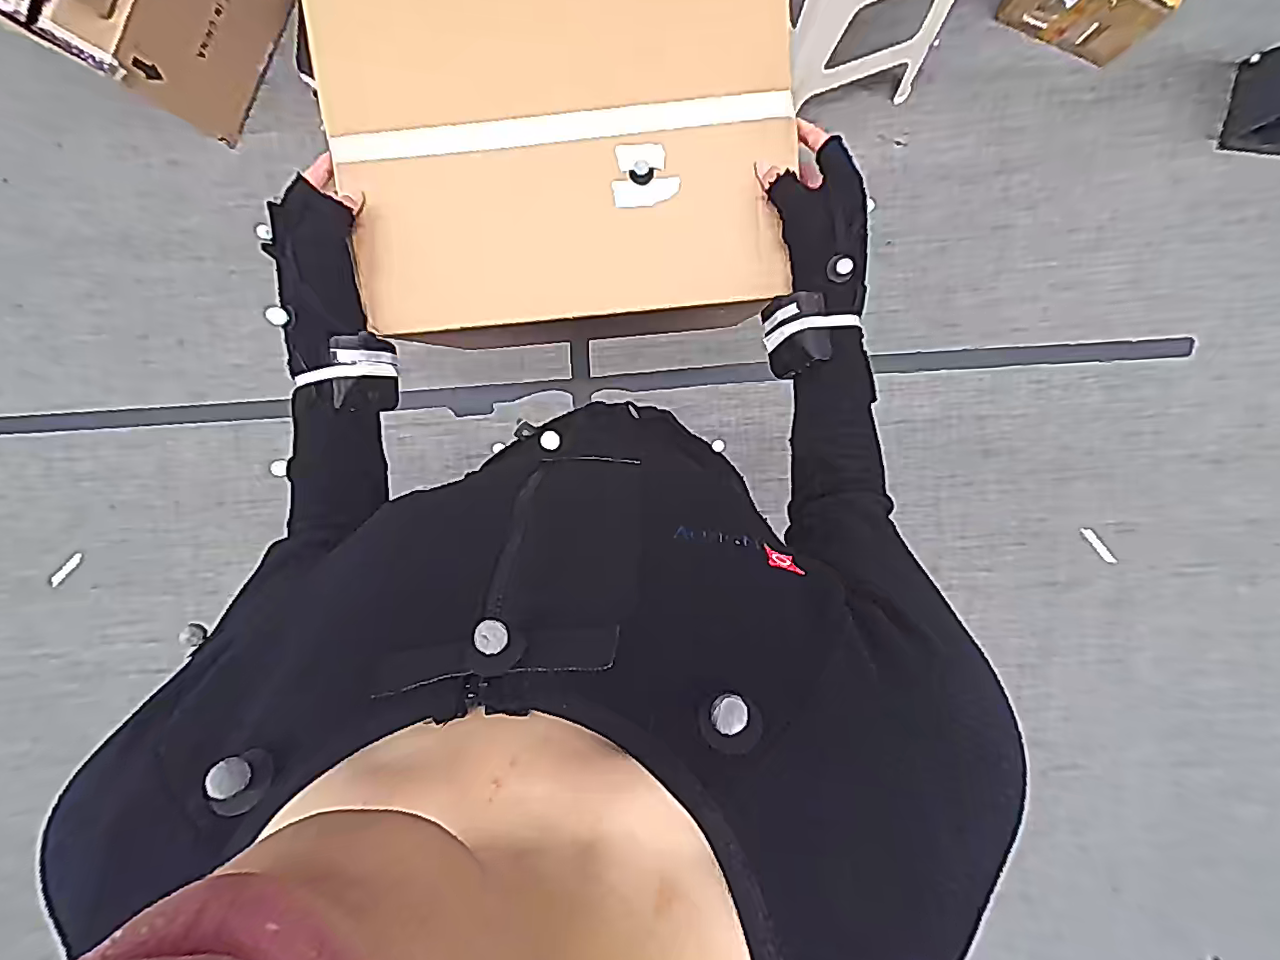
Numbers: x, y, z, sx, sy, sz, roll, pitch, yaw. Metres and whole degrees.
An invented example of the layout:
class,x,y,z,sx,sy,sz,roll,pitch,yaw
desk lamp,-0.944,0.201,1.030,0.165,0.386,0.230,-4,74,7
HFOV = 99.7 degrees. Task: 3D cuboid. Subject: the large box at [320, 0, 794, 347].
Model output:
class,x,y,z,sx,sy,sz,roll,pitch,yaw
large box,-0.070,-0.341,0.630,0.408,0.320,0.320,-5,101,0
